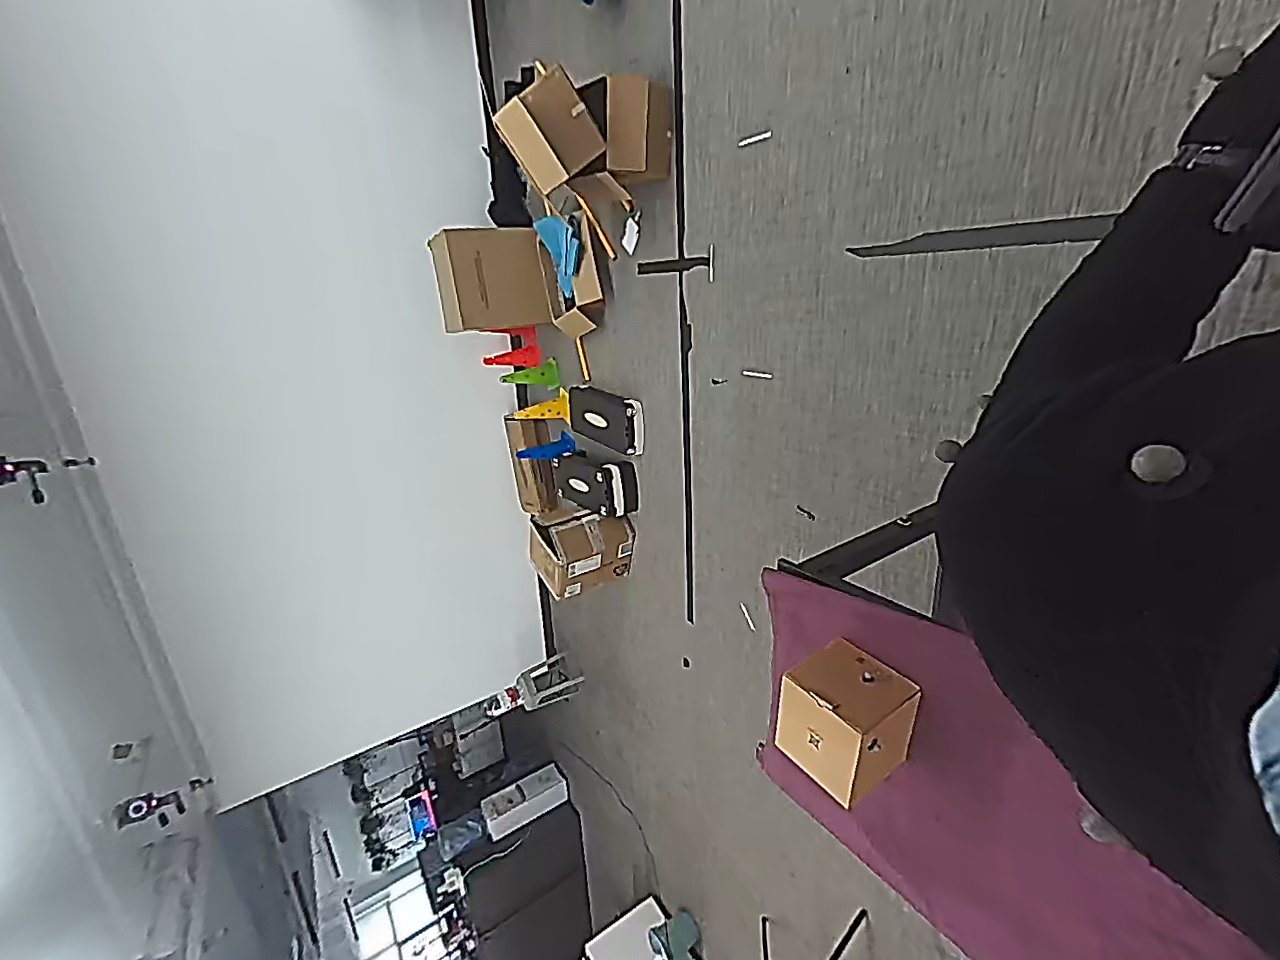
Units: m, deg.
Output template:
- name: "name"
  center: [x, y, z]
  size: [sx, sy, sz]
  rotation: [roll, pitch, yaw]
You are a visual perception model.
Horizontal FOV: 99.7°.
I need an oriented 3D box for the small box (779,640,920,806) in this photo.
- name: "small box"
  center: [0.373, 0.424, 0.971]
  size: [0.168, 0.176, 0.179]
  rotation: [29, 127, 50]
